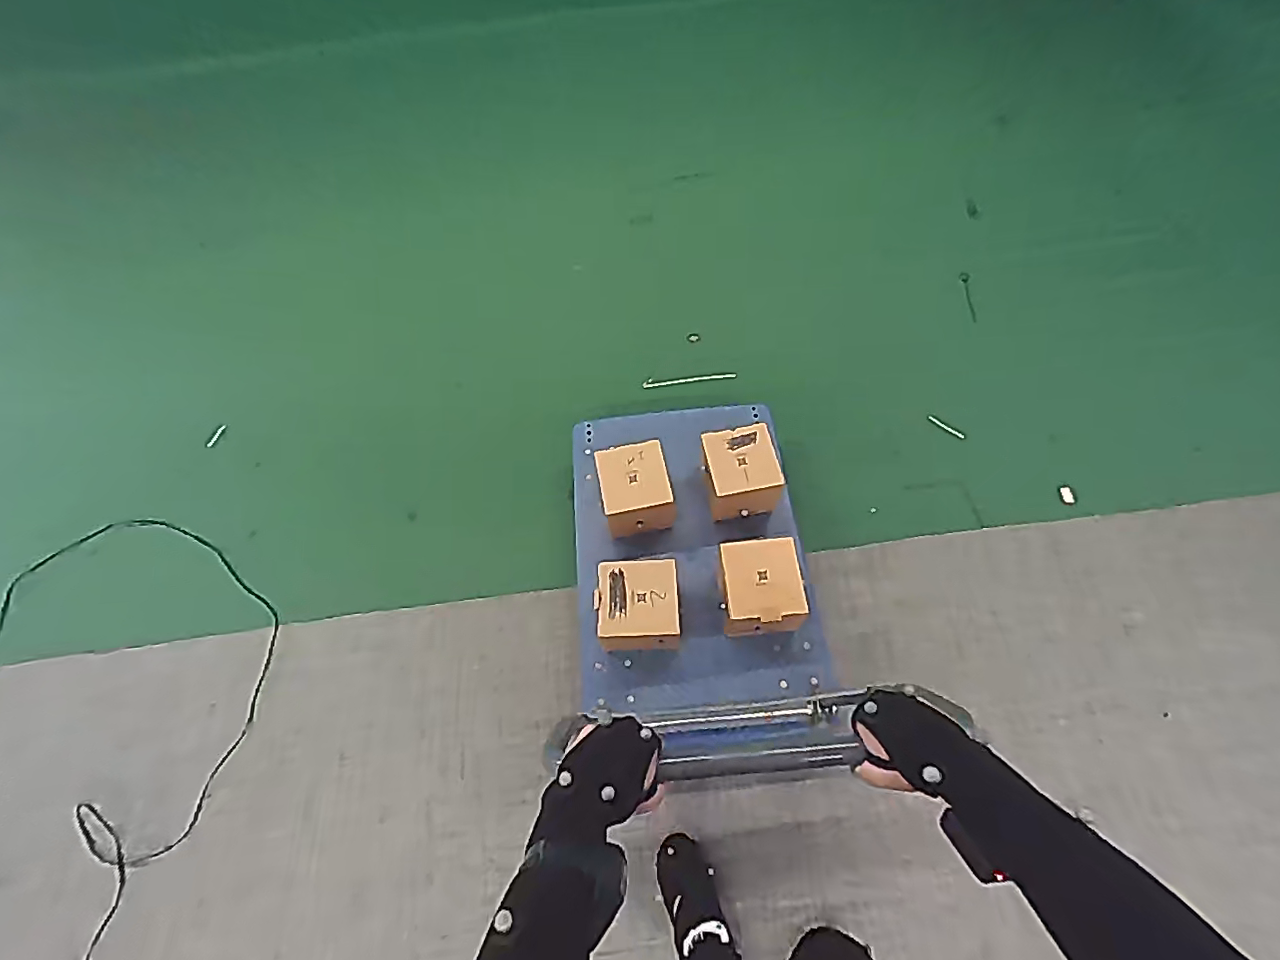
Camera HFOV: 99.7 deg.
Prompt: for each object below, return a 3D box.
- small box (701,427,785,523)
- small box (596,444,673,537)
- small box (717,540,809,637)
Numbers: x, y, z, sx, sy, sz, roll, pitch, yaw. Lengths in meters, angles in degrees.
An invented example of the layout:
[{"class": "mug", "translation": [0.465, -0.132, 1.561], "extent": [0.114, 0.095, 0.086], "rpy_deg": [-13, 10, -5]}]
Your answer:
[{"class": "small box", "translation": [0.253, -0.009, 1.377], "extent": [0.168, 0.176, 0.179], "rpy_deg": [-10, 64, -1]}, {"class": "small box", "translation": [-0.010, 0.034, 1.372], "extent": [0.168, 0.176, 0.179], "rpy_deg": [-11, 63, -3]}, {"class": "small box", "translation": [0.274, 0.254, 1.248], "extent": [0.168, 0.176, 0.179], "rpy_deg": [-5, 64, 1]}]
